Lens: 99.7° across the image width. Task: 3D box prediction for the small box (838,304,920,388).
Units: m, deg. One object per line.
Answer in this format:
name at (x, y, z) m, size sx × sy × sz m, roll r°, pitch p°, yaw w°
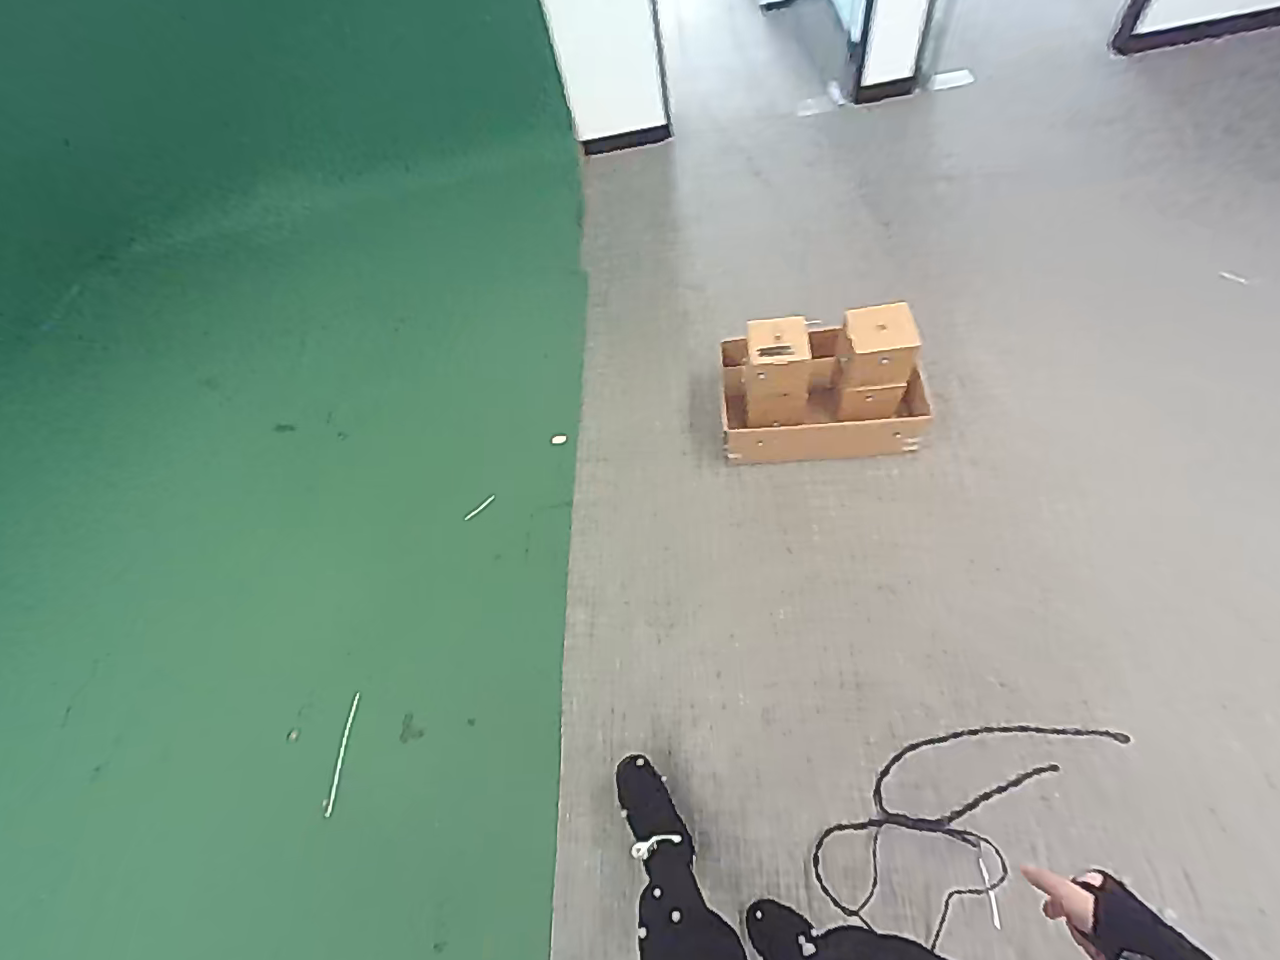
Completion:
small box at (0.691, -0.387, 1.589) m, size 0.179 × 0.176 × 0.168 m, roll -6°, pitch 61°, yaw 8°
